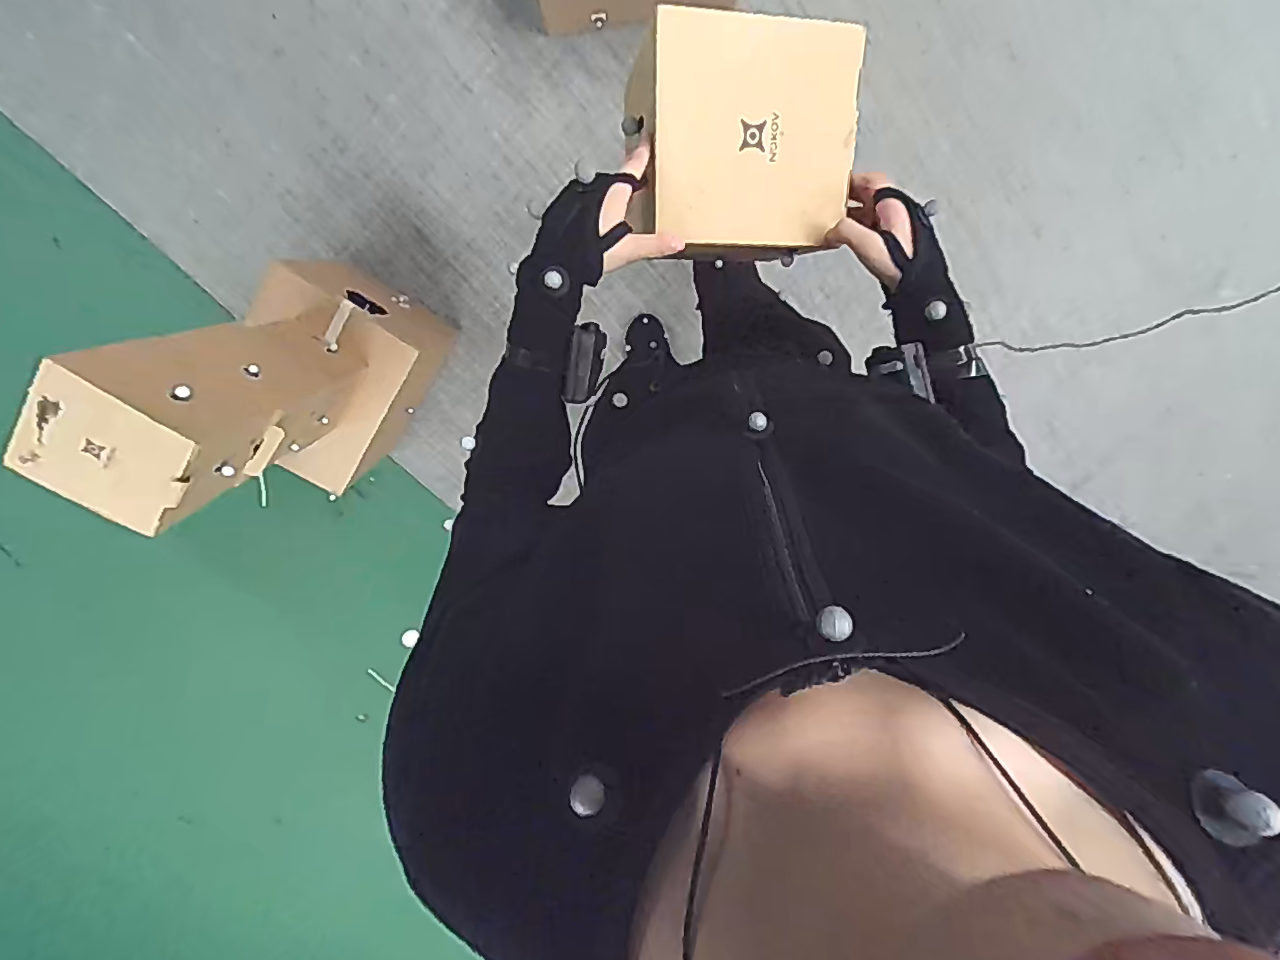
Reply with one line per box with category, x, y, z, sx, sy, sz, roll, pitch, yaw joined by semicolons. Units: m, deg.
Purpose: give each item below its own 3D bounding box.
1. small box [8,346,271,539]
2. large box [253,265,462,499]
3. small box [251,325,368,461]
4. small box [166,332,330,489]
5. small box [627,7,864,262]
small box;-0.649;-0.059;0.727;0.179;0.176;0.168;36;106;-17
large box;-0.680;-0.241;1.270;0.320;0.320;0.408;33;108;-12
small box;-0.658;-0.172;1.035;0.168;0.176;0.179;36;106;-16
small box;-0.650;-0.121;0.879;0.179;0.176;0.168;37;106;-16
small box;0.082;-0.304;0.516;0.179;0.176;0.168;-4;107;-10
